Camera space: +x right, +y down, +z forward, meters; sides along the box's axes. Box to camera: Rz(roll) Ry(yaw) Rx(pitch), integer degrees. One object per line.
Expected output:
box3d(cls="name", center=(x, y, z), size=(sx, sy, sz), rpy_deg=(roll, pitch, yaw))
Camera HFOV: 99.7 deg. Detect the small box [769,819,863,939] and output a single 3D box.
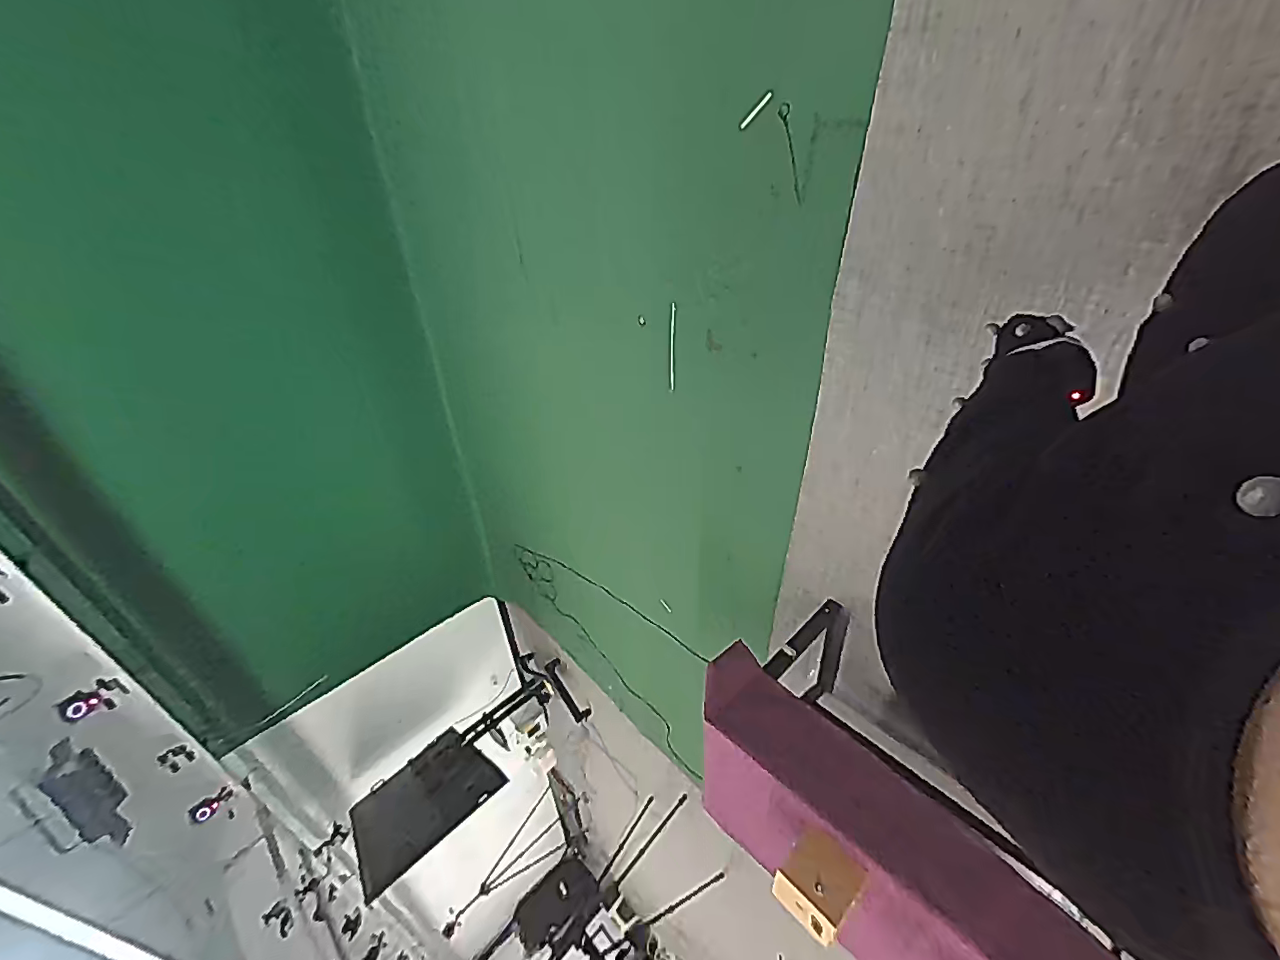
box3d(cls="small box", center=(0.477, 1.074, 1.467), size=(0.179, 0.176, 0.168), rpy_deg=(31, 138, 38))
